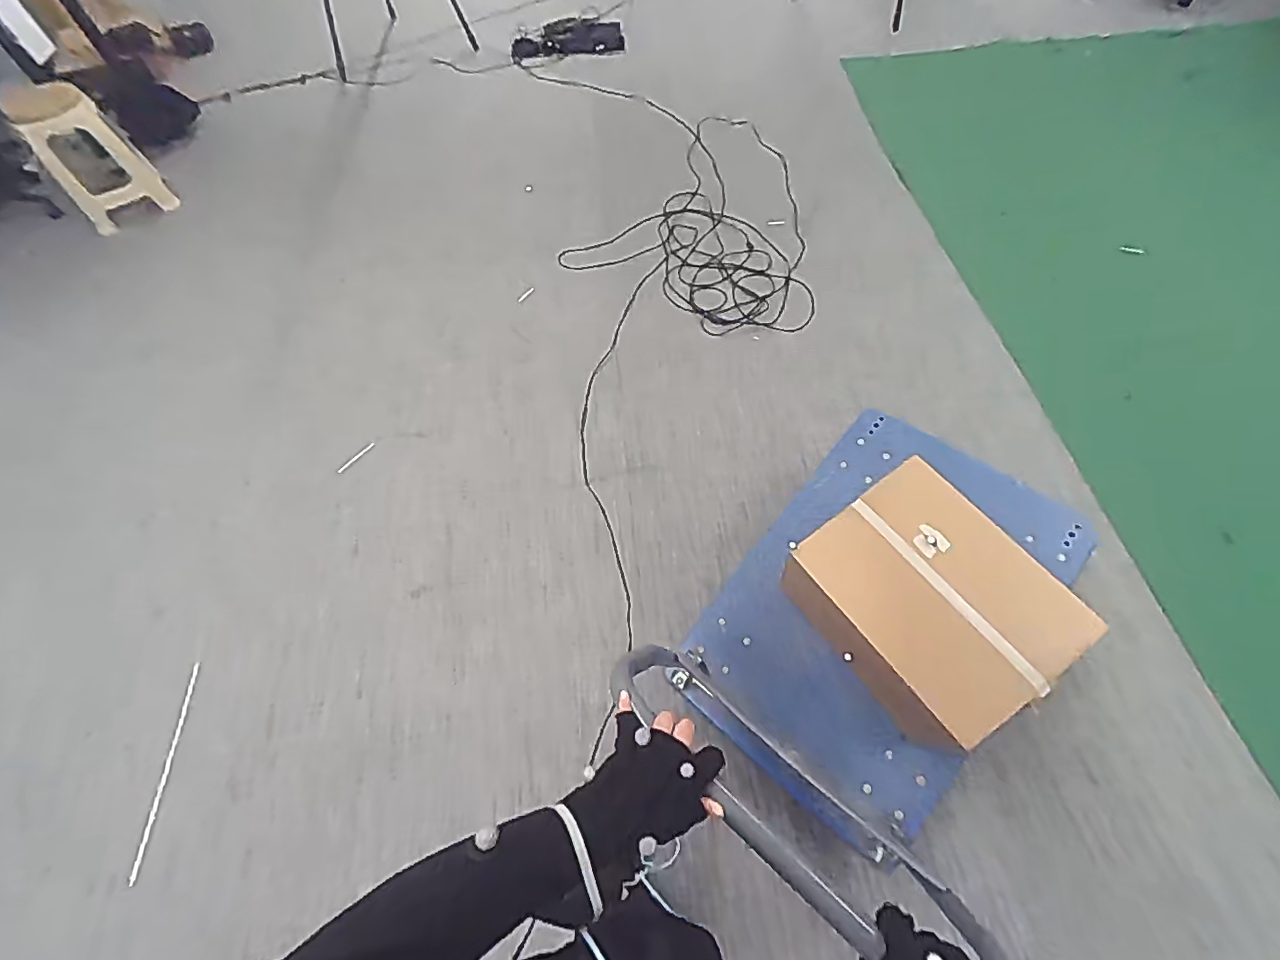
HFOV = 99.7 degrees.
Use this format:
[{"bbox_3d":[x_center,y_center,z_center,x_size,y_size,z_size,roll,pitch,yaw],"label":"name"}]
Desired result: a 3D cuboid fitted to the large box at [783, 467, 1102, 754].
[{"bbox_3d":[0.534,0.258,1.062,0.320,0.320,0.408,-35,64,-6],"label":"large box"}]
